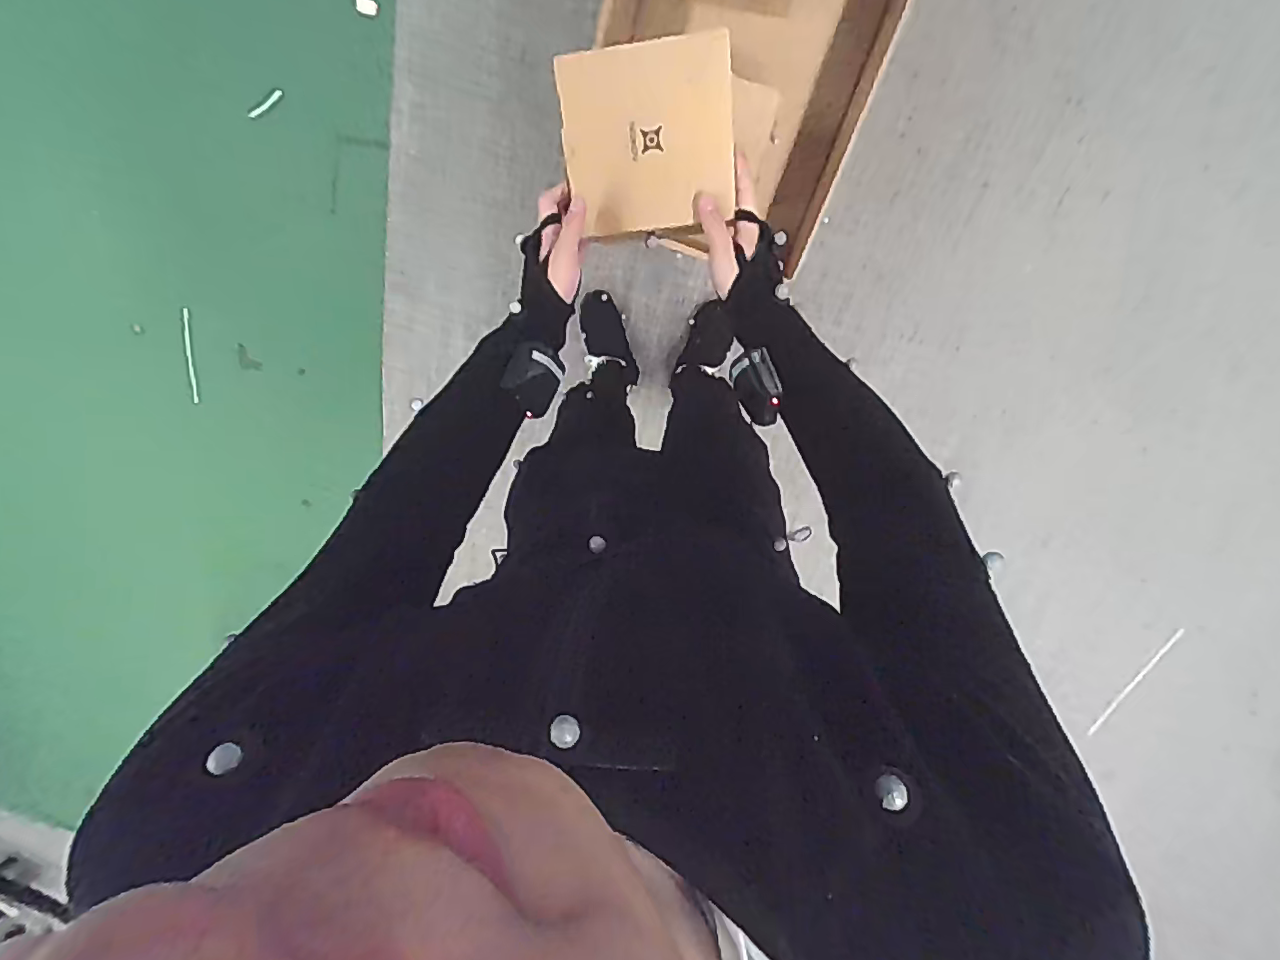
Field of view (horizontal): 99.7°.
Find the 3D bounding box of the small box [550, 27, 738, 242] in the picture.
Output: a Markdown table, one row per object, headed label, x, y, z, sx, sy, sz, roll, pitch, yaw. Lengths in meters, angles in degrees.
| label | x | y | z | sx | sy | sz | roll | pitch | yaw |
| --- | --- | --- | --- | --- | --- | --- | --- | --- | --- |
| small box | 0.016 | -0.370 | 0.613 | 0.179 | 0.176 | 0.168 | -4 | 112 | 10 |
